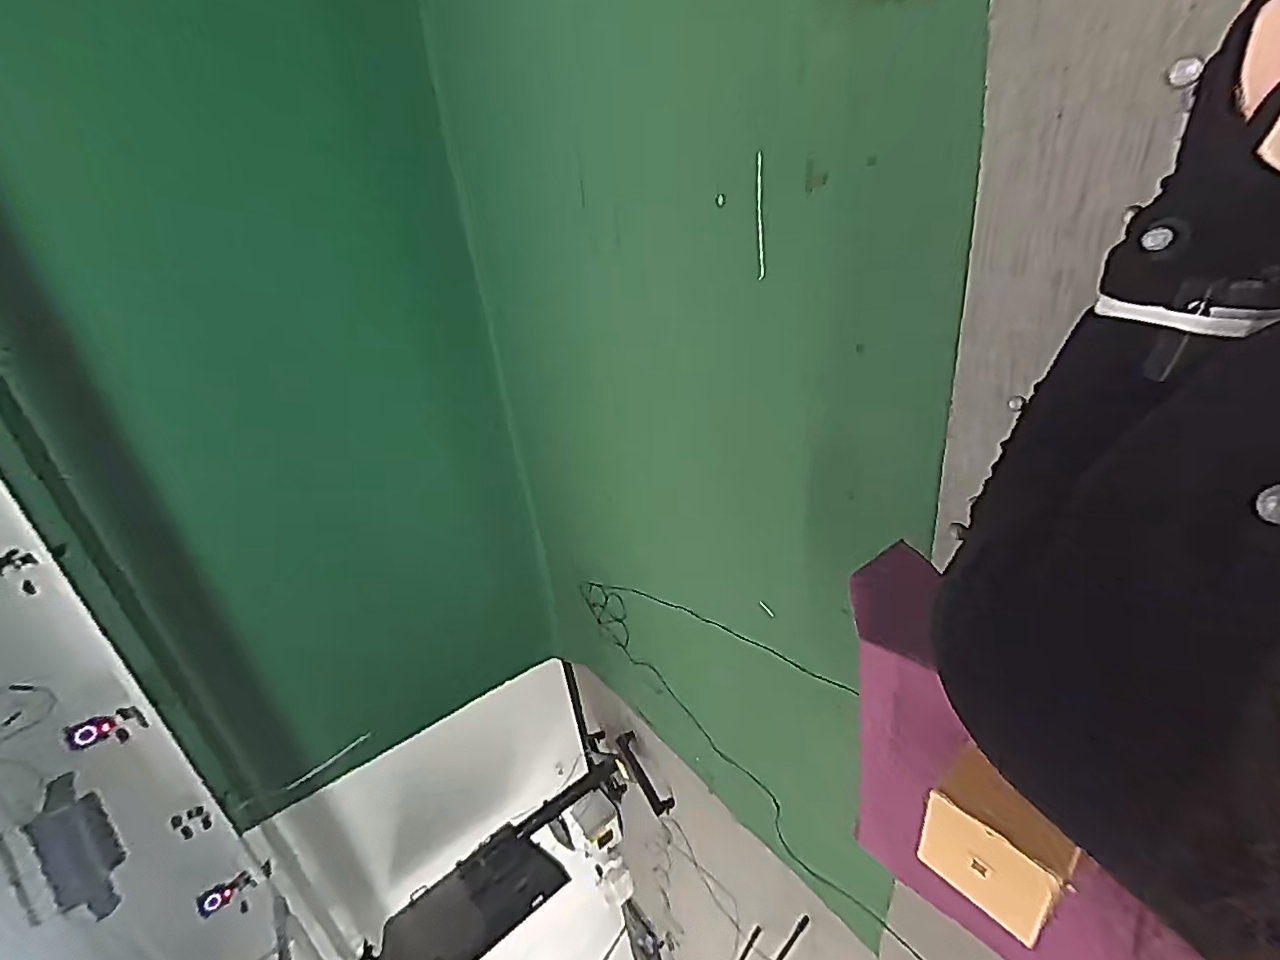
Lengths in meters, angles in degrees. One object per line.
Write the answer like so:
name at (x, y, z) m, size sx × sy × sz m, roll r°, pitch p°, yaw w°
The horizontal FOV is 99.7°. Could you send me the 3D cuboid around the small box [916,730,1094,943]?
small box at (0.559, 0.537, 0.835) m, size 0.168 × 0.176 × 0.179 m, roll 25°, pitch 129°, yaw 47°
